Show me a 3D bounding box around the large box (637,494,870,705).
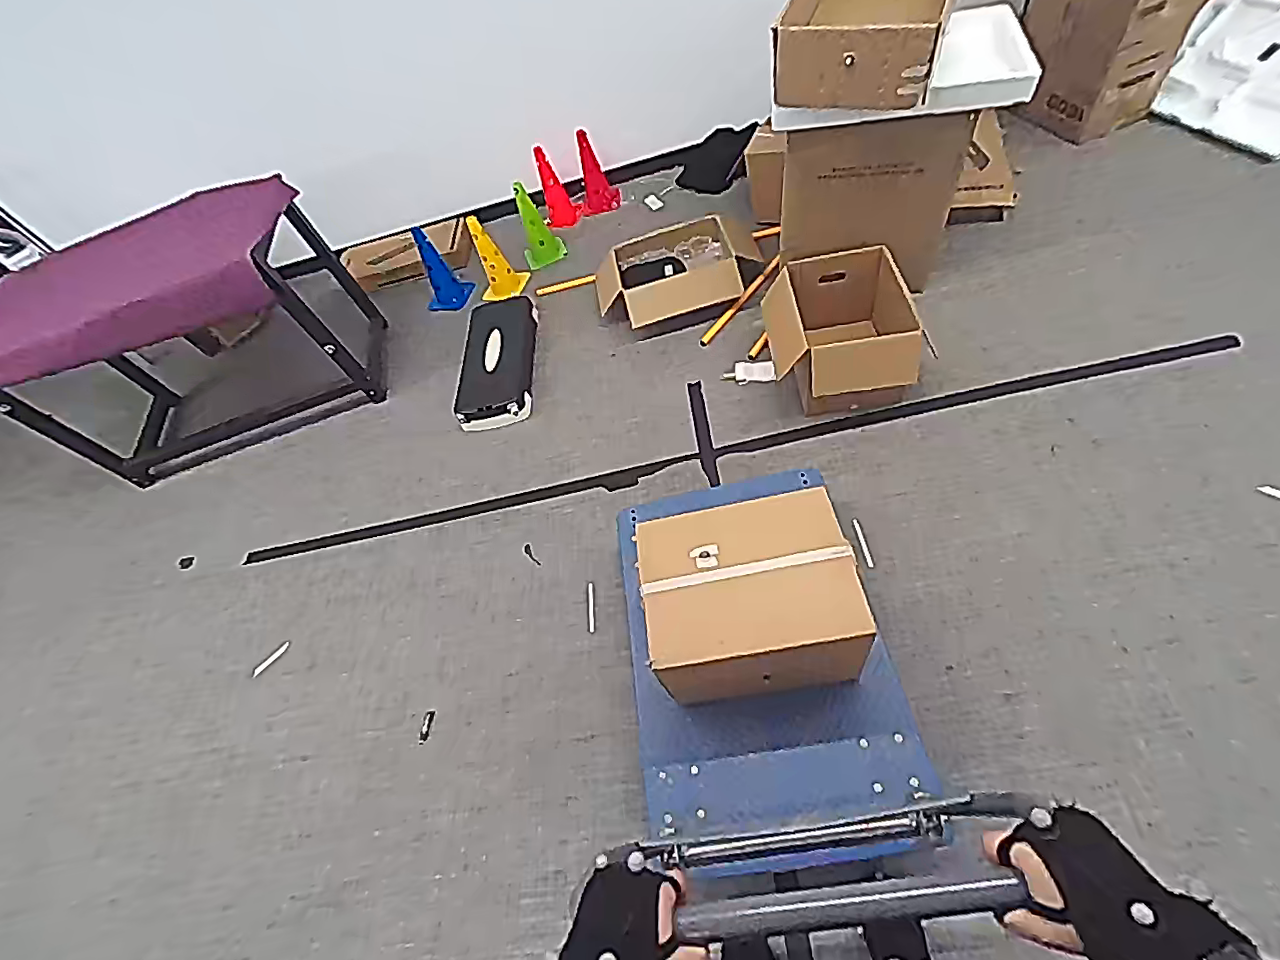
[{"bbox_3d":[0.236,0.276,1.185,0.408,0.320,0.320,-13,53,8],"label":"large box"}]
